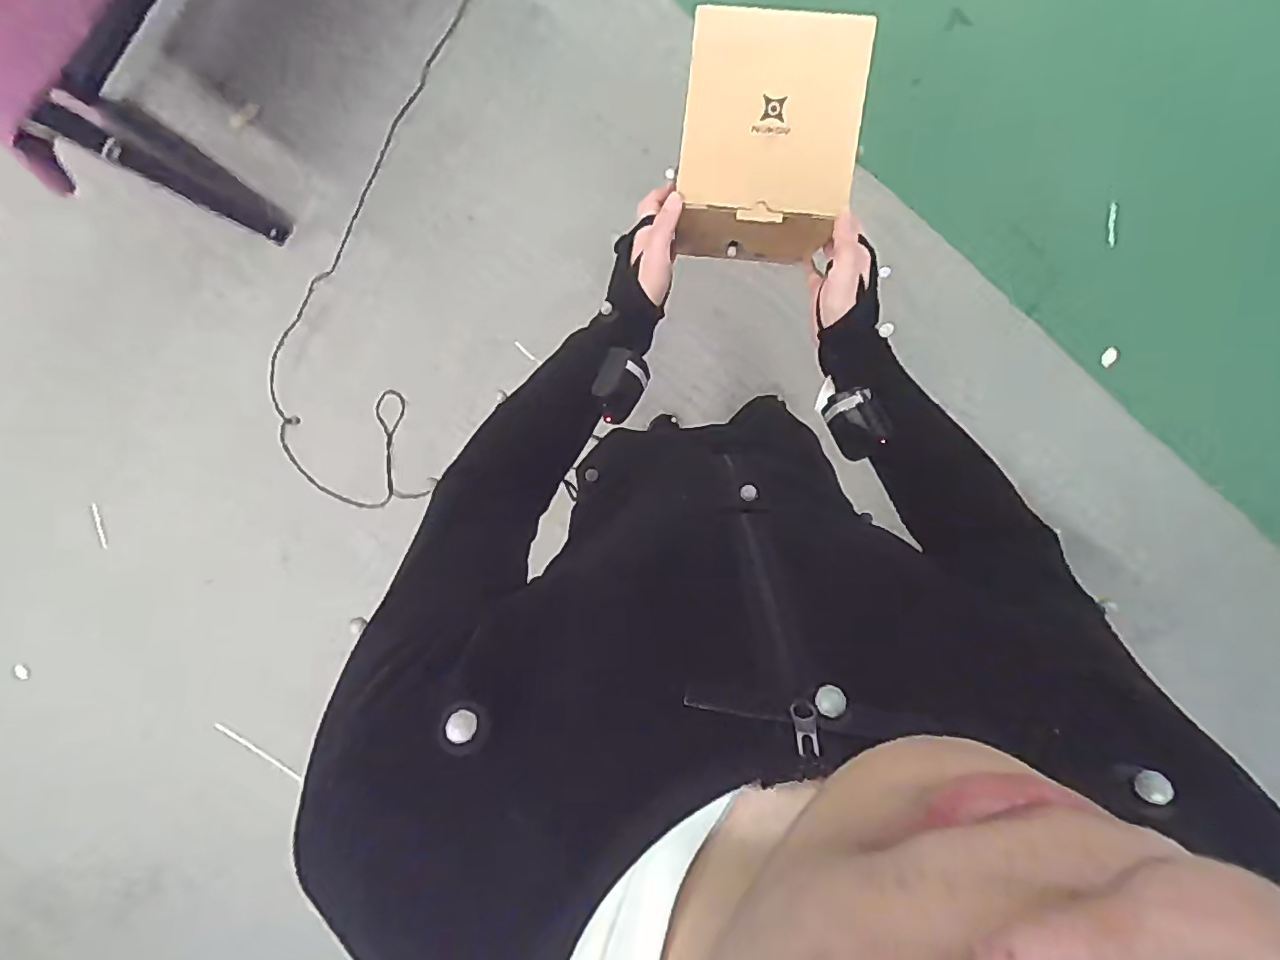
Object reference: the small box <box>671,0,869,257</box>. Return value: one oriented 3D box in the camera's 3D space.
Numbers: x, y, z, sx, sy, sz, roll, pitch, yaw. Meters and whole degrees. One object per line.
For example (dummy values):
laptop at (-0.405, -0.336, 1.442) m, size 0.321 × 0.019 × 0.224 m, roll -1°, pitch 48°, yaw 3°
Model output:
small box at (0.122, -0.355, 0.577) m, size 0.168 × 0.176 × 0.179 m, roll 4°, pitch 100°, yaw 2°

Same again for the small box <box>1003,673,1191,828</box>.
small box at (0.845, 0.495, 1.022) m, size 0.179 × 0.176 × 0.168 m, roll 33°, pitch 95°, yaw -7°
